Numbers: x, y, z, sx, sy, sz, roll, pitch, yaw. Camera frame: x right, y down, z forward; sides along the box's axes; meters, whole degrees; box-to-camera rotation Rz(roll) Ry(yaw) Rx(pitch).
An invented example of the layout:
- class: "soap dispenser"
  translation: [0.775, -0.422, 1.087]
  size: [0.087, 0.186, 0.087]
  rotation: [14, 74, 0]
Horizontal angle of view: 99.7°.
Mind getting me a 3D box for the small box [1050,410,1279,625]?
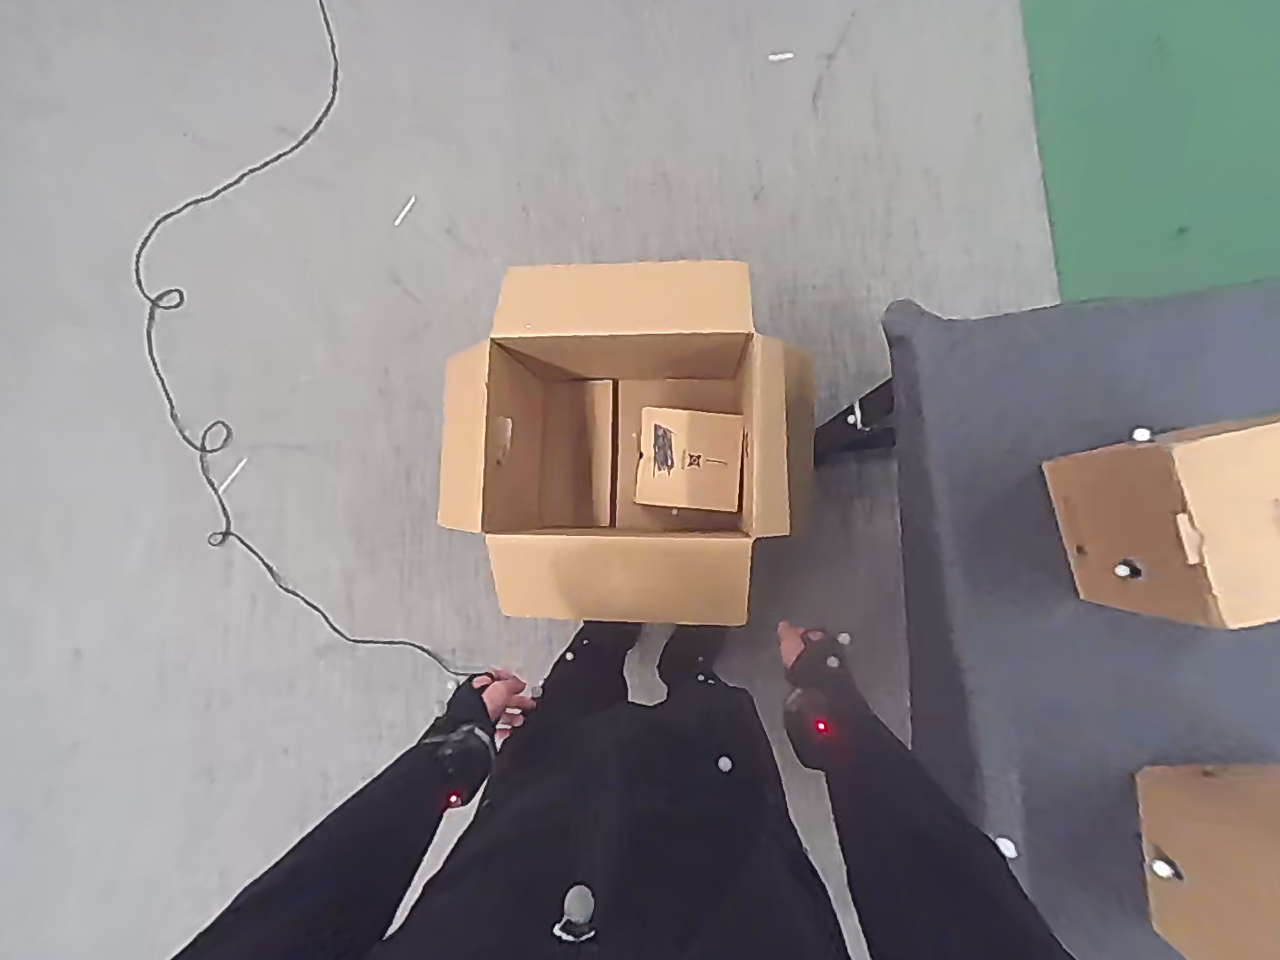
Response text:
- class: "small box"
  translation: [0.559, 0.032, 0.544]
  size: [0.179, 0.176, 0.168]
  rotation: [-14, 87, 2]
